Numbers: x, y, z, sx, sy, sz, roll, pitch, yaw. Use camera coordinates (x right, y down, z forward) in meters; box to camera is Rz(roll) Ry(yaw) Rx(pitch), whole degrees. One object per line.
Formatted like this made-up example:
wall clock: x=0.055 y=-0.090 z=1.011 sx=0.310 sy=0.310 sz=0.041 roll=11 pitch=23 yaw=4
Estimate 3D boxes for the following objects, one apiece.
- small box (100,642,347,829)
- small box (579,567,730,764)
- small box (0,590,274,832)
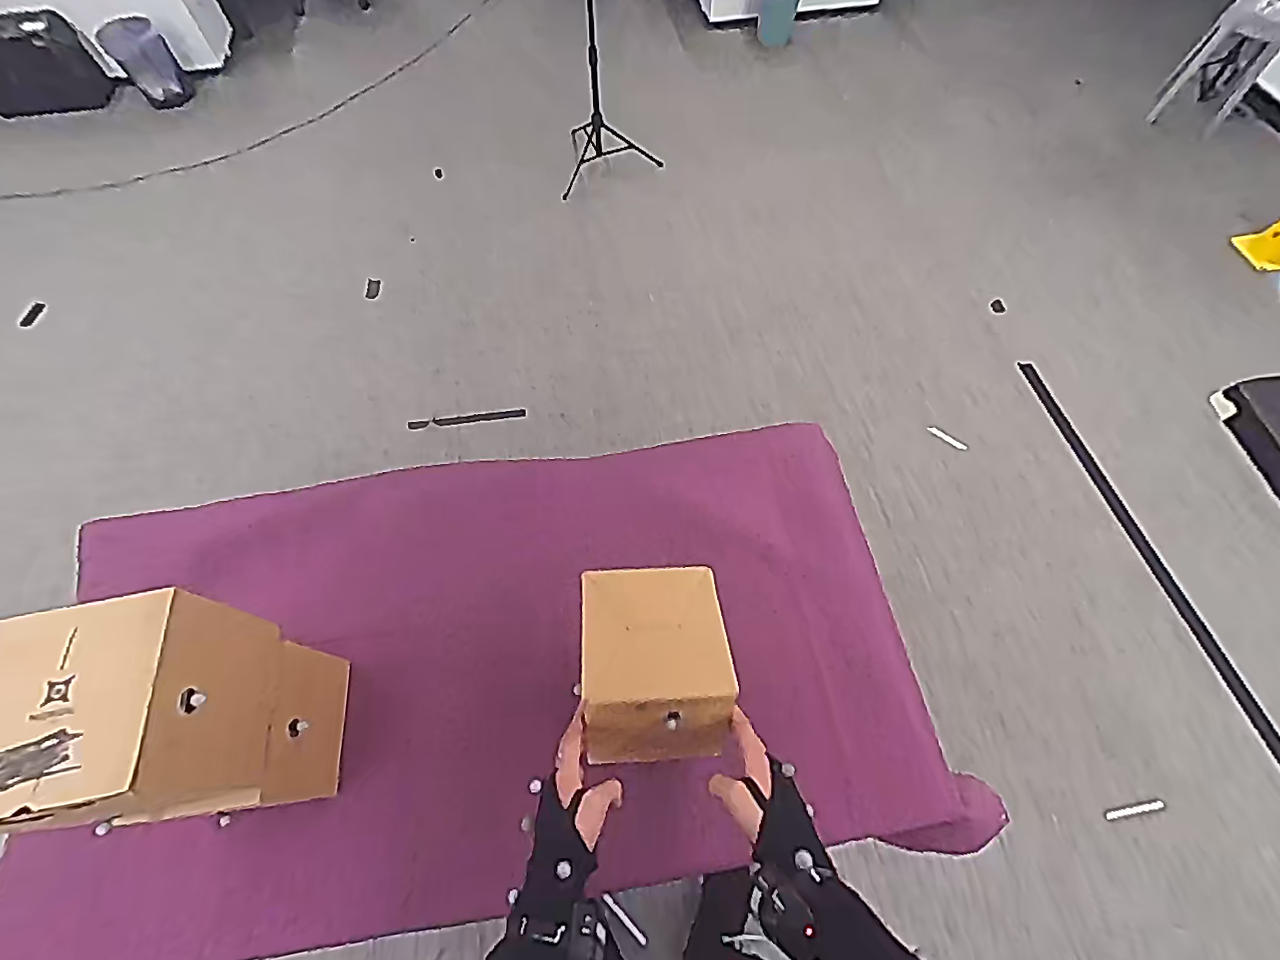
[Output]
small box: x=-0.492 y=0.314 z=0.675 sx=0.168 sy=0.176 sz=0.179 roll=-6 pitch=63 yaw=-4
small box: x=0.009 y=0.227 z=0.681 sx=0.168 sy=0.176 sz=0.179 roll=-1 pitch=37 yaw=-5
small box: x=-0.498 y=0.228 z=0.534 sx=0.168 sy=0.176 sz=0.179 roll=-10 pitch=62 yaw=-6
